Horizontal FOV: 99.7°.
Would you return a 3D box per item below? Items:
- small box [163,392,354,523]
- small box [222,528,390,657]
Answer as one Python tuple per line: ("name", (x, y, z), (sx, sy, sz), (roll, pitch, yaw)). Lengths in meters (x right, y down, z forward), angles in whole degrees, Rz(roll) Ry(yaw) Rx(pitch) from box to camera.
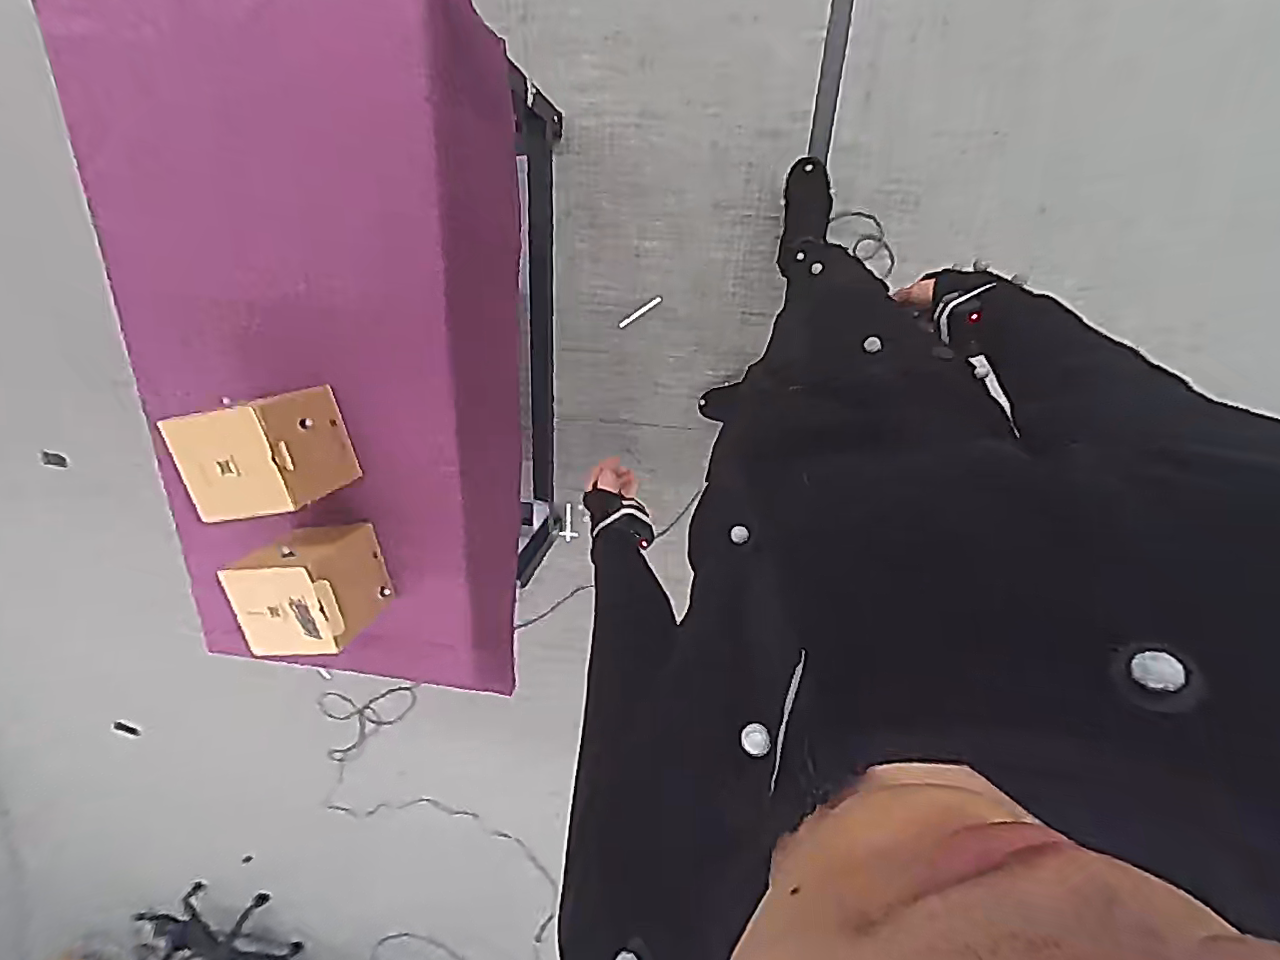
("small box", (-0.607, -0.043, 0.892), (0.179, 0.176, 0.168), (-7, 107, 11))
("small box", (-0.580, 0.195, 0.970), (0.179, 0.176, 0.168), (-6, 108, 11))
